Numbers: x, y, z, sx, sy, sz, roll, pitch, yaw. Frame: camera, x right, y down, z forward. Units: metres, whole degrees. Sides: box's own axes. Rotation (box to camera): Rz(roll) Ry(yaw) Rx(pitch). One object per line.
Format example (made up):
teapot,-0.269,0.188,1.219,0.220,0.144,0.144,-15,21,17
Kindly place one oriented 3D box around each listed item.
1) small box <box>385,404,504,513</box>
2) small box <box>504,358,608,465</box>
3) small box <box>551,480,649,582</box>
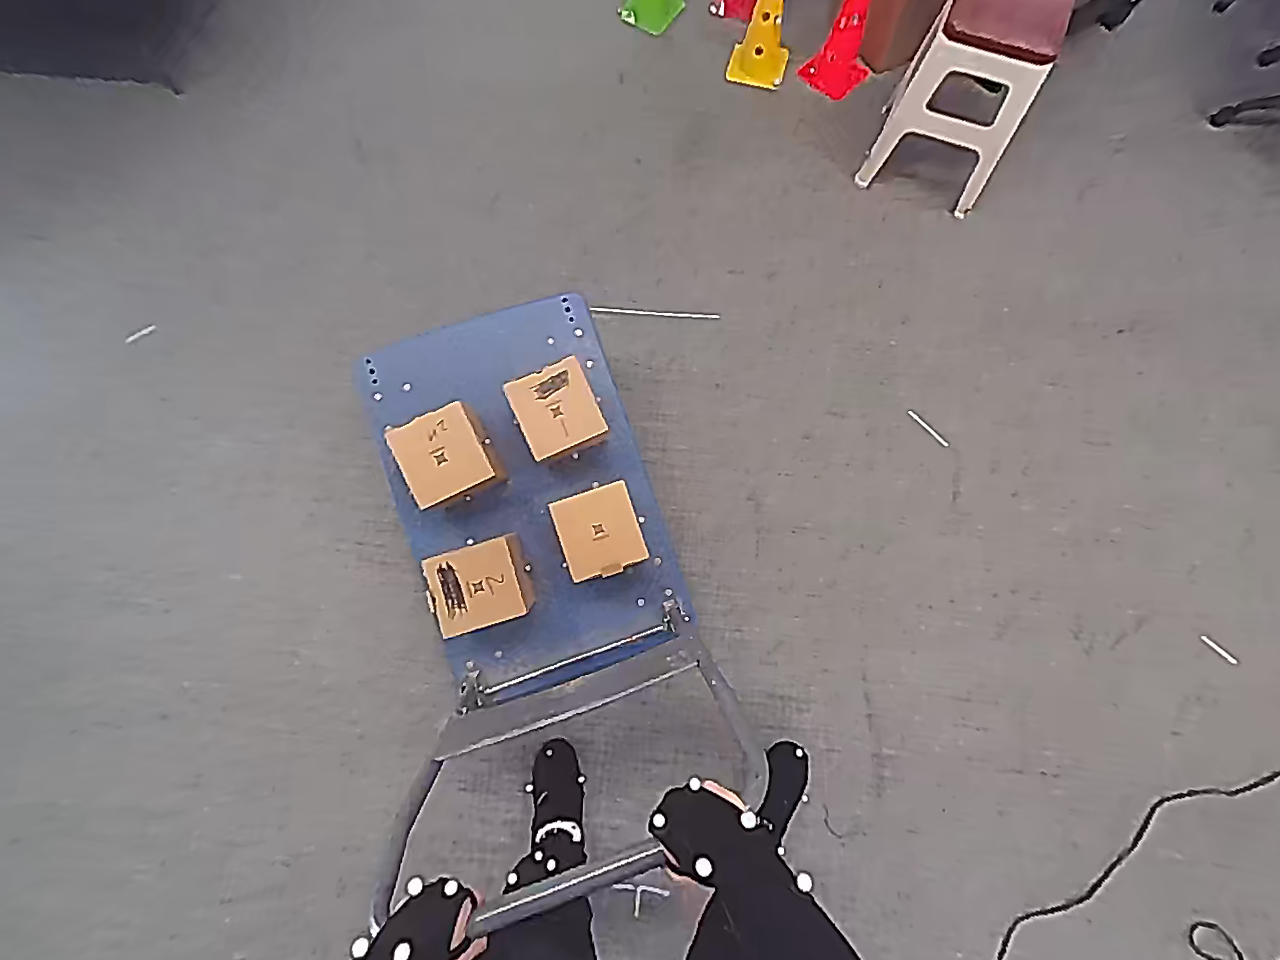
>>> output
small box,-0.413,-0.043,1.178,0.168,0.176,0.179,-26,90,-6
small box,-0.182,-0.143,1.200,0.168,0.176,0.179,-24,91,-5
small box,-0.091,0.110,1.199,0.168,0.176,0.179,-19,90,-5
